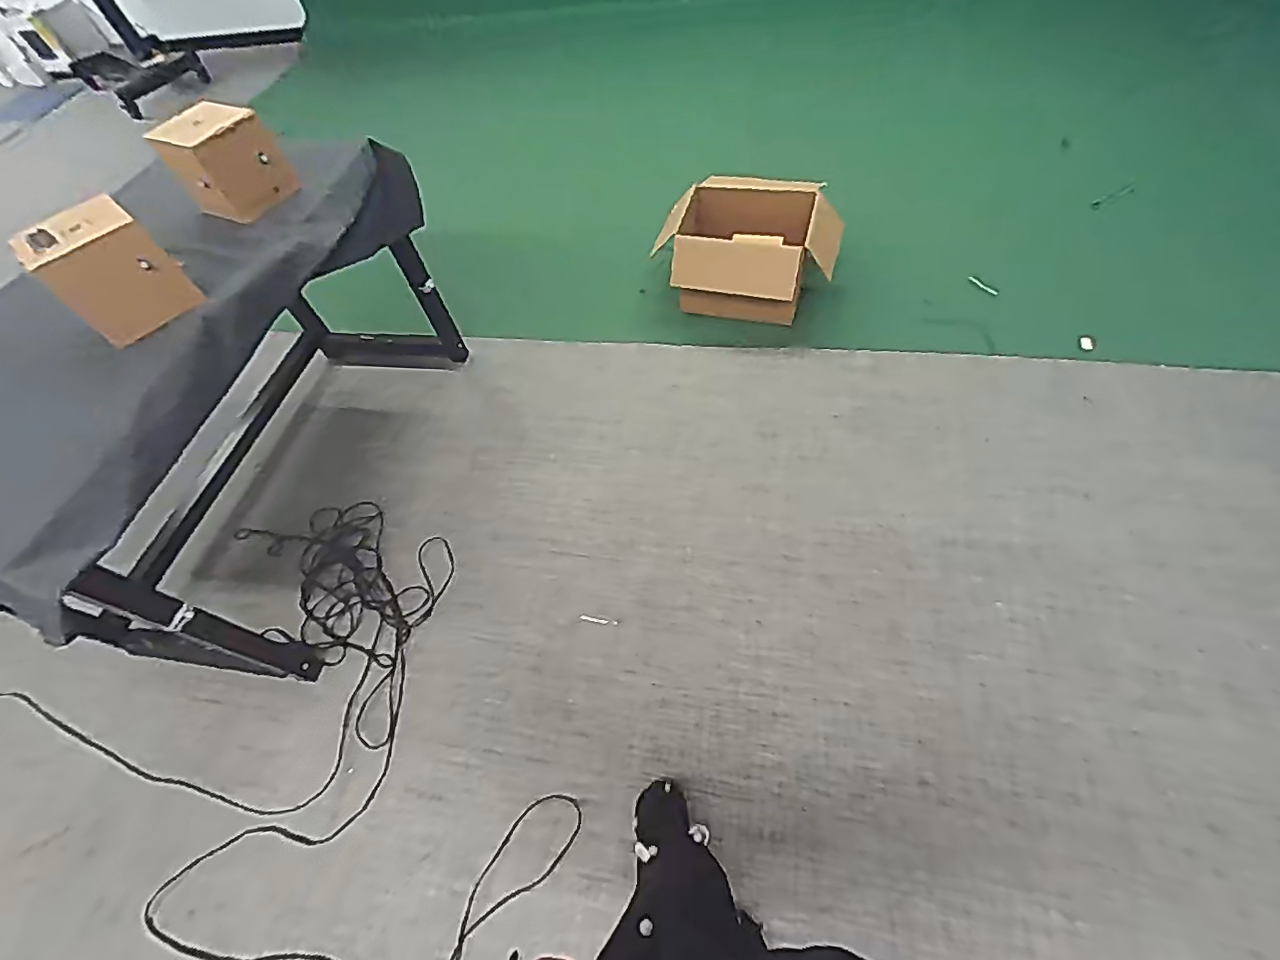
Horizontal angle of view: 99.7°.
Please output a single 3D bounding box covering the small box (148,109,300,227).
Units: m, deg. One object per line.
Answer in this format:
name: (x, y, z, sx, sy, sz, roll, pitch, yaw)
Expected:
small box: (-0.915, -0.692, 1.207, 0.179, 0.176, 0.168, 20, 60, 21)
